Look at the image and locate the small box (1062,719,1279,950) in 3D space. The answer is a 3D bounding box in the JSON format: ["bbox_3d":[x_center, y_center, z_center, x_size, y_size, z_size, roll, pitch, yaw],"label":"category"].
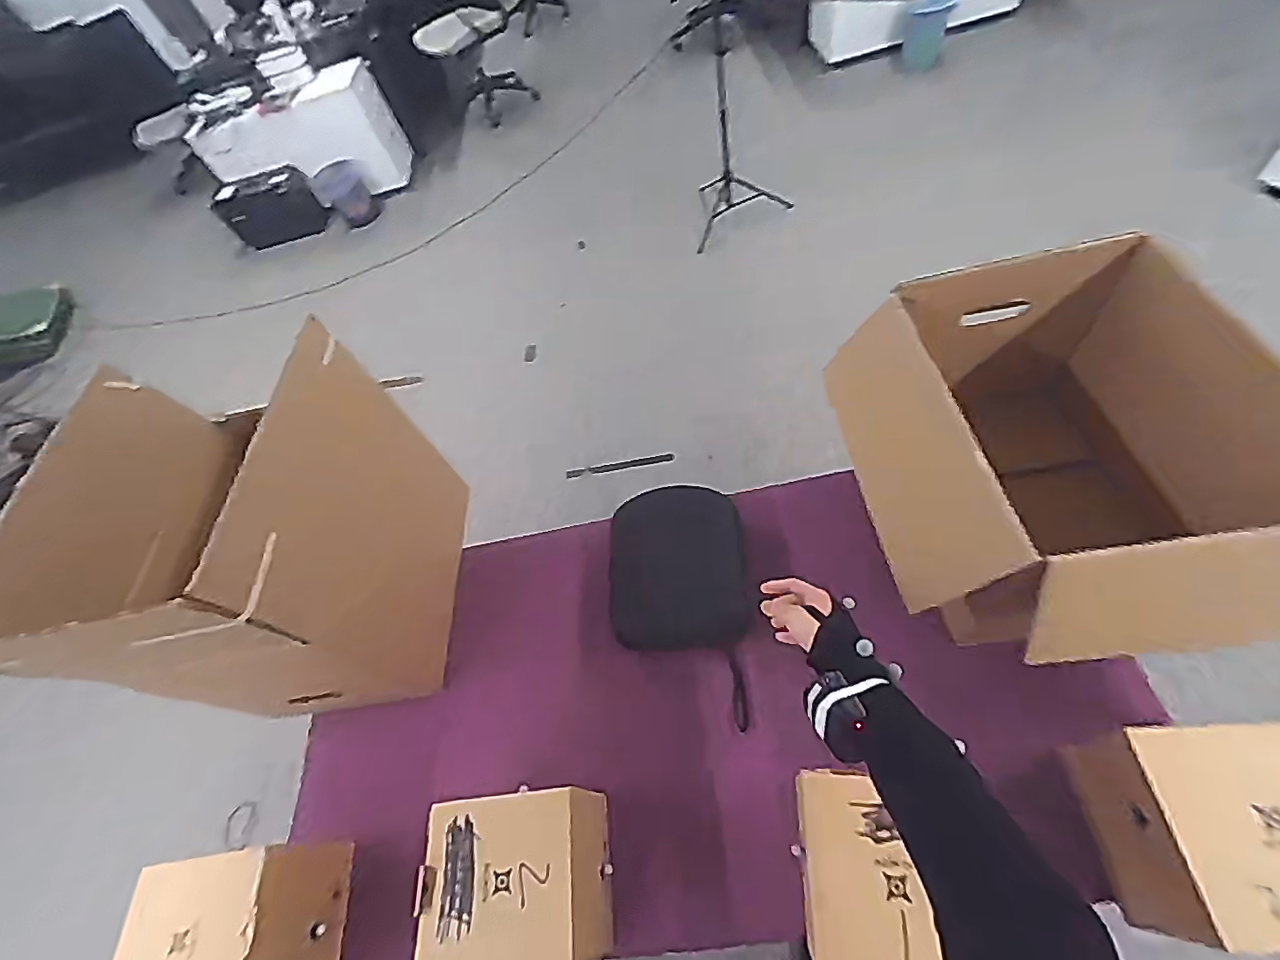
[{"bbox_3d":[0.580,0.354,0.550,0.168,0.176,0.179,-7,56,11],"label":"small box"}]

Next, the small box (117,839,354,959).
[{"bbox_3d":[-0.509,0.570,0.692,0.179,0.176,0.168,-13,56,5],"label":"small box"}]
